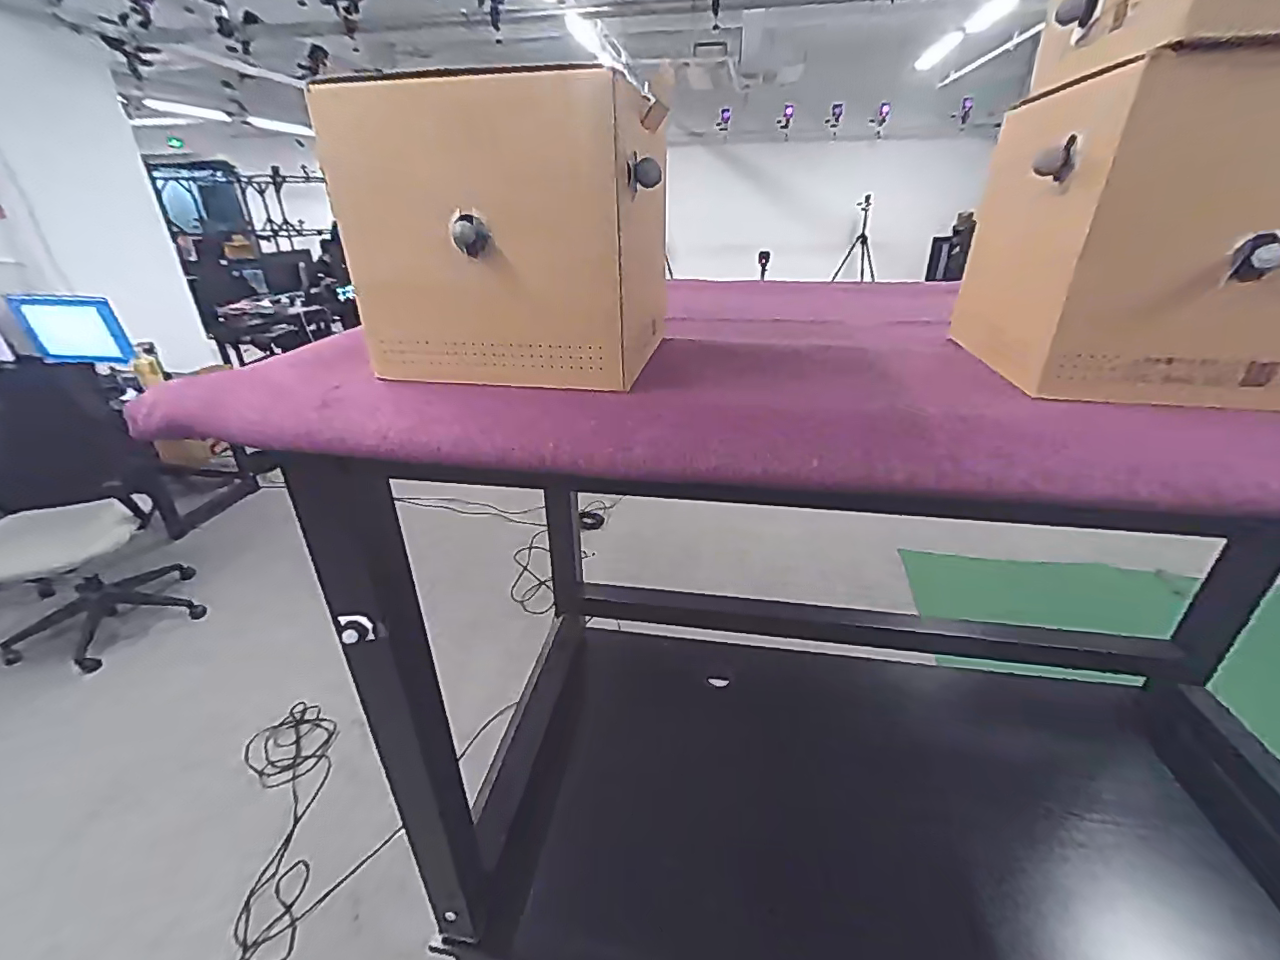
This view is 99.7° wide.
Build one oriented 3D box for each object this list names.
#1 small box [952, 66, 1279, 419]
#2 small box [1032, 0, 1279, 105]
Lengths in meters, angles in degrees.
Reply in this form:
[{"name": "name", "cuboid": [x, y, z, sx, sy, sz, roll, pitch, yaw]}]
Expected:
[{"name": "small box", "cuboid": [0.328, -0.146, 0.344, 0.168, 0.176, 0.179, 6, 28, 10]}, {"name": "small box", "cuboid": [0.336, -0.284, 0.258, 0.179, 0.176, 0.168, 4, 27, 11]}]
